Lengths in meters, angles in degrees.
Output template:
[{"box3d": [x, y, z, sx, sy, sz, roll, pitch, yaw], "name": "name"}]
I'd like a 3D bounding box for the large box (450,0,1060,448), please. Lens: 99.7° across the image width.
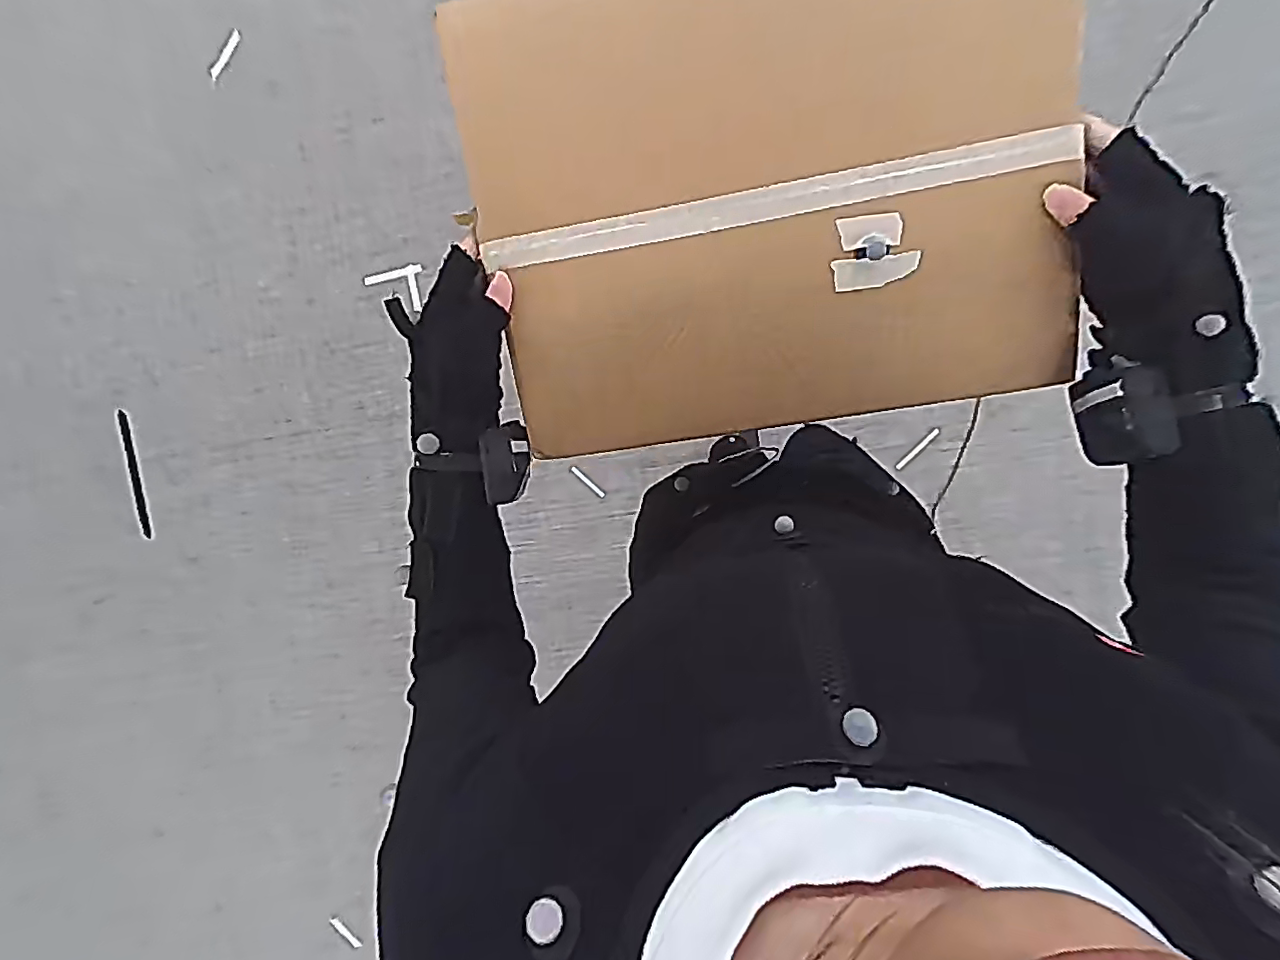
[{"box3d": [0.095, -0.239, 0.531, 0.408, 0.320, 0.320, -9, 105, 5], "name": "large box"}]
